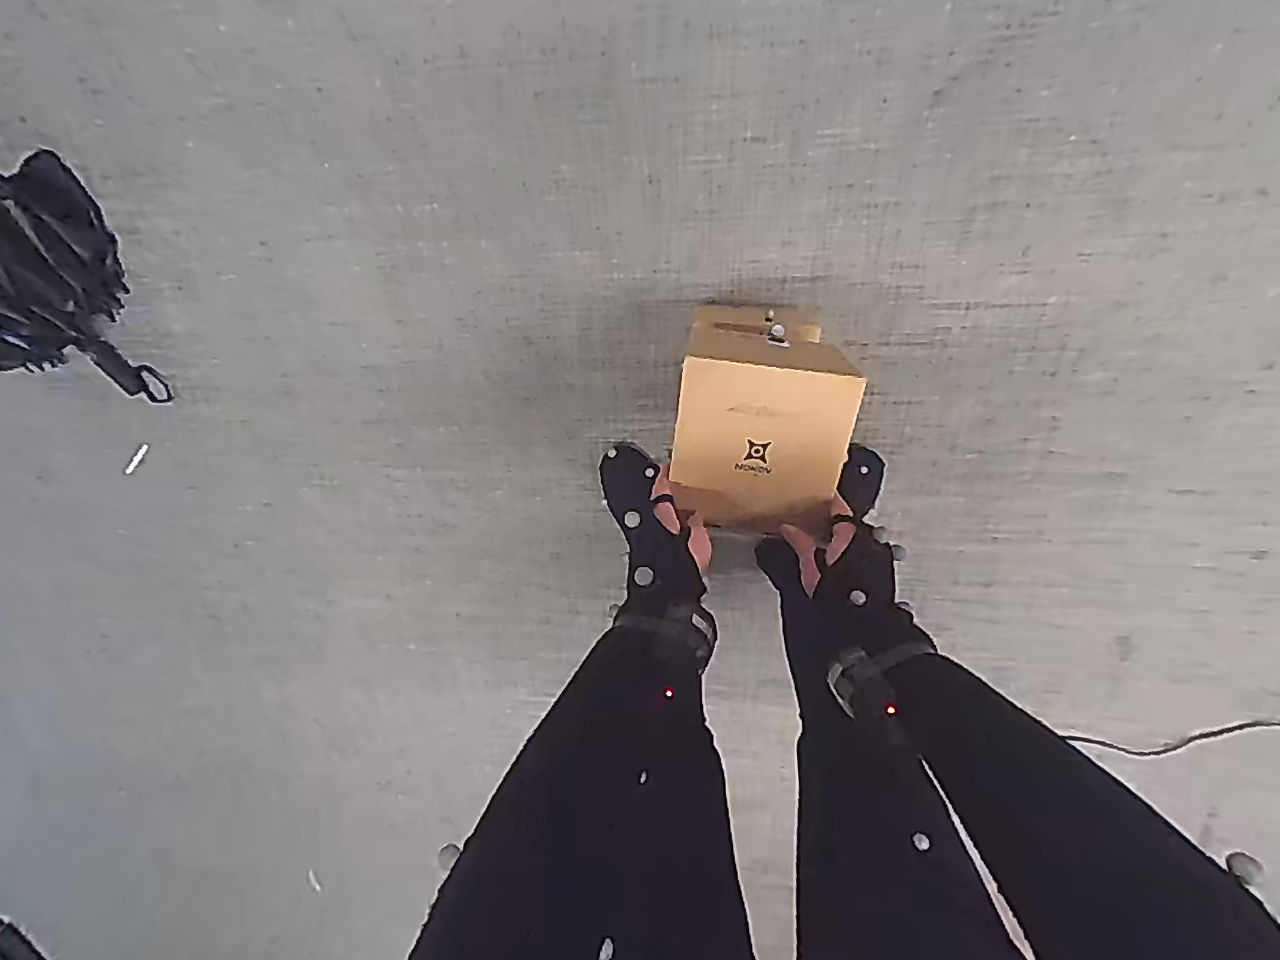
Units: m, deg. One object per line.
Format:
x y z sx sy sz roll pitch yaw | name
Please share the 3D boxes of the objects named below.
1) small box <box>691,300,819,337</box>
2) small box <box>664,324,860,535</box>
0.157 -0.163 0.805 0.168 0.176 0.179 4 116 6 | small box
0.124 -0.064 0.603 0.168 0.176 0.179 7 115 4 | small box
